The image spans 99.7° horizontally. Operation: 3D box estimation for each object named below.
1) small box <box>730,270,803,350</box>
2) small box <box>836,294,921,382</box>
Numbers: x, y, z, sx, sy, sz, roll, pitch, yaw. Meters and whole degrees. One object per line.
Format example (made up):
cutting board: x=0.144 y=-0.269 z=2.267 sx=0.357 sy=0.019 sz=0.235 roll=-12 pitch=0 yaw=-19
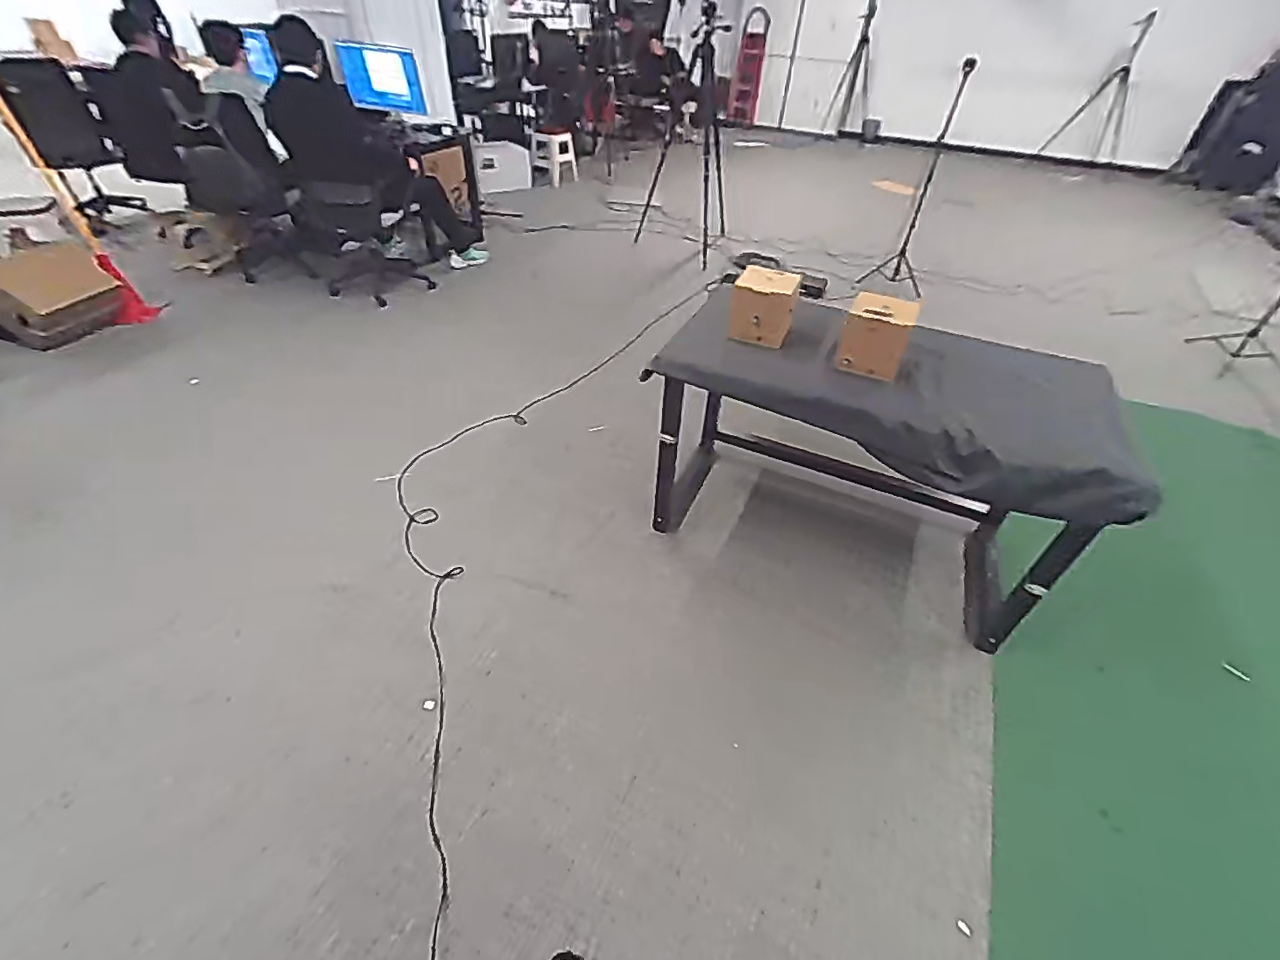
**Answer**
small box: x=0.379 y=-0.513 z=1.637 sx=0.168 sy=0.176 sz=0.179 roll=18 pitch=44 yaw=17
small box: x=0.666 y=-0.398 z=1.519 sx=0.168 sy=0.176 sz=0.179 roll=20 pitch=43 yaw=19
